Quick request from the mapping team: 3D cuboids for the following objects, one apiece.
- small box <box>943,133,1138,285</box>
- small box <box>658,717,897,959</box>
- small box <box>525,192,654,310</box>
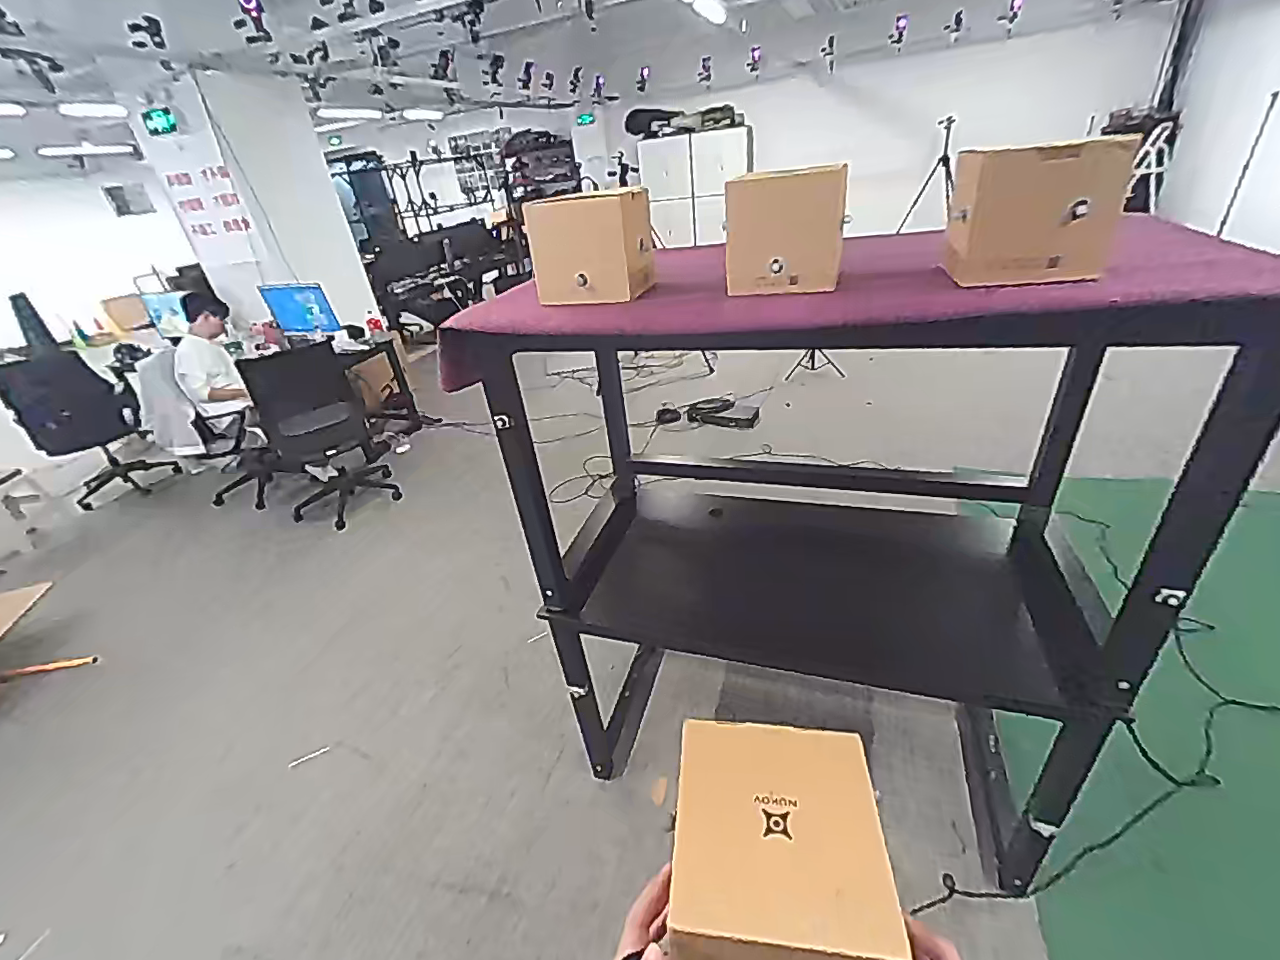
[{"bbox_3d":[0.541,-0.374,0.760,0.168,0.176,0.179,3,30,18],"label":"small box"},{"bbox_3d":[0.112,0.344,0.481,0.168,0.176,0.179,0,28,9],"label":"small box"},{"bbox_3d":[-0.079,-0.411,0.973,0.179,0.176,0.168,4,31,17],"label":"small box"}]
